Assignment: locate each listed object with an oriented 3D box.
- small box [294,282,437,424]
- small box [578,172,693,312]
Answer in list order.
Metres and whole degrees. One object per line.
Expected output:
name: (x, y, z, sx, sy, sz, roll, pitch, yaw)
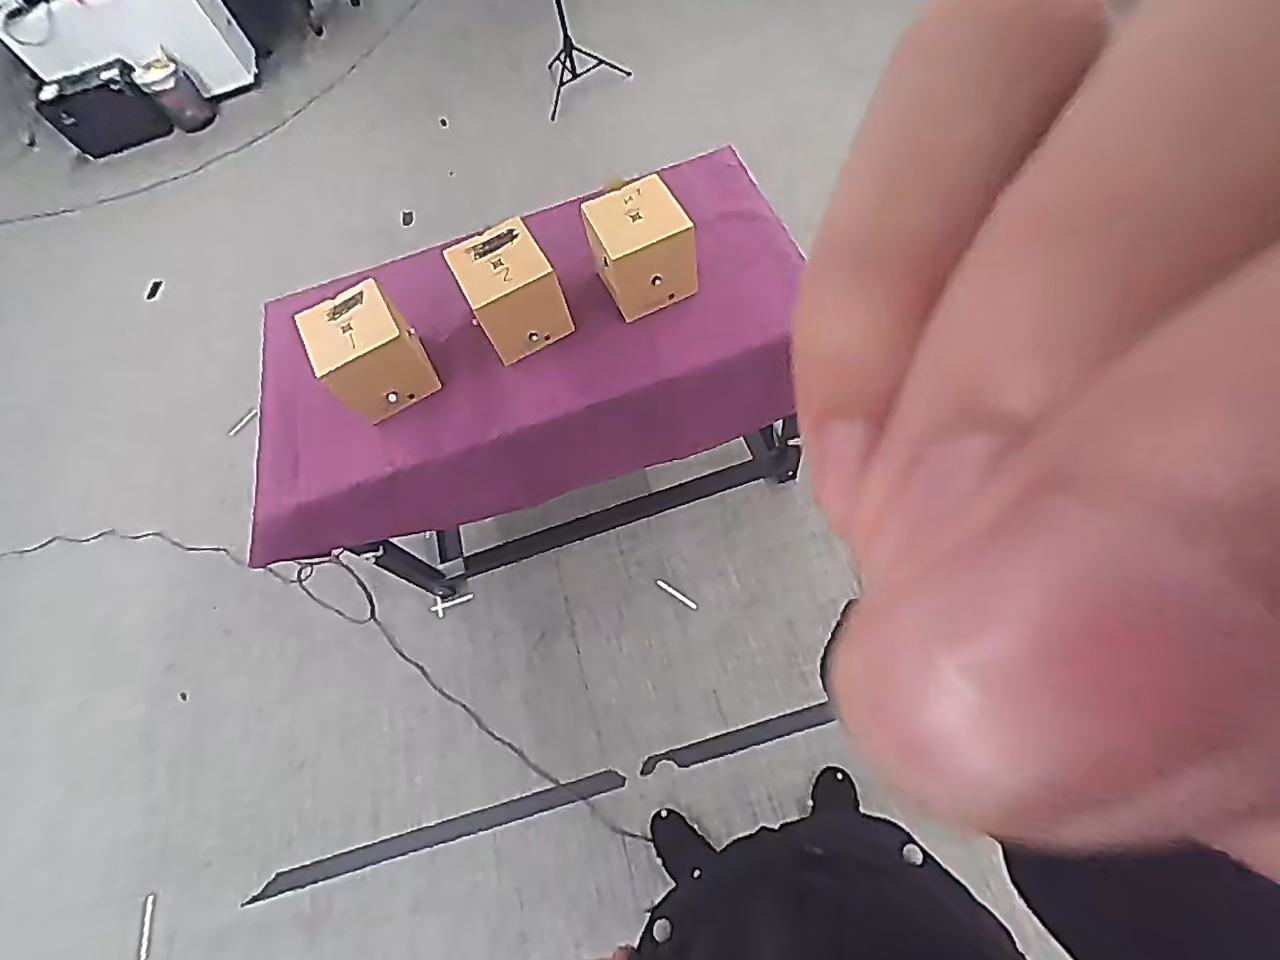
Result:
small box: (-0.533, -0.245, 1.066, 0.168, 0.176, 0.179, -31, 64, -6)
small box: (-0.003, -0.463, 1.081, 0.168, 0.176, 0.179, -24, 62, -3)
